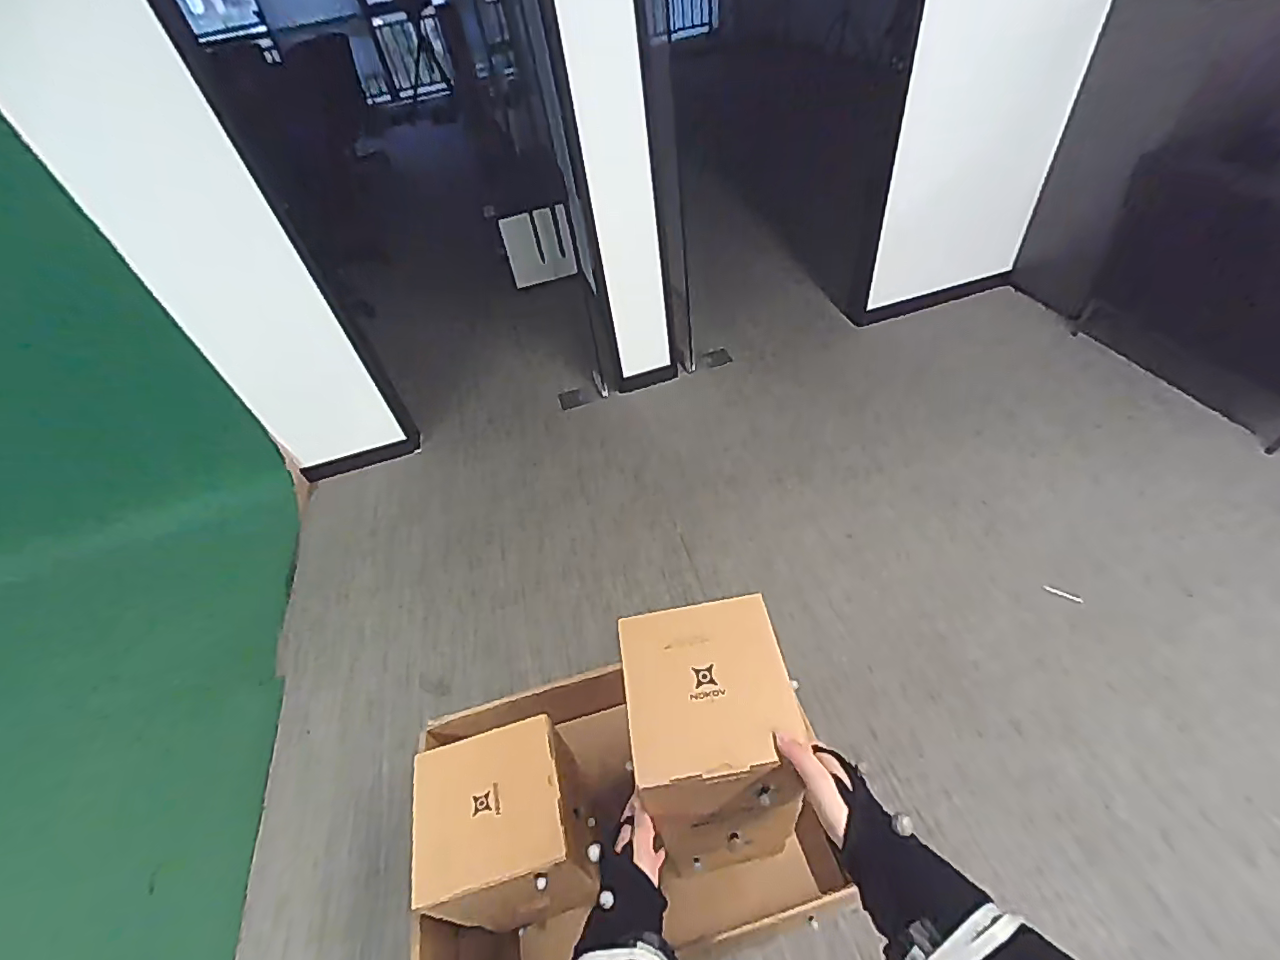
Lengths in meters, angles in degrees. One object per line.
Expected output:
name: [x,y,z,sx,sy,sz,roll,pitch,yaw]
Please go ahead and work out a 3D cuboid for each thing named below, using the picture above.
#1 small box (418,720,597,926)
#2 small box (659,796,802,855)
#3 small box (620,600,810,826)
small box: [-0.168,0.449,0.706,0.179,0.176,0.168,-16,46,-6]
small box: [0.104,0.377,0.718,0.168,0.176,0.179,-12,46,0]
small box: [0.078,0.264,0.602,0.168,0.176,0.179,-11,45,1]
